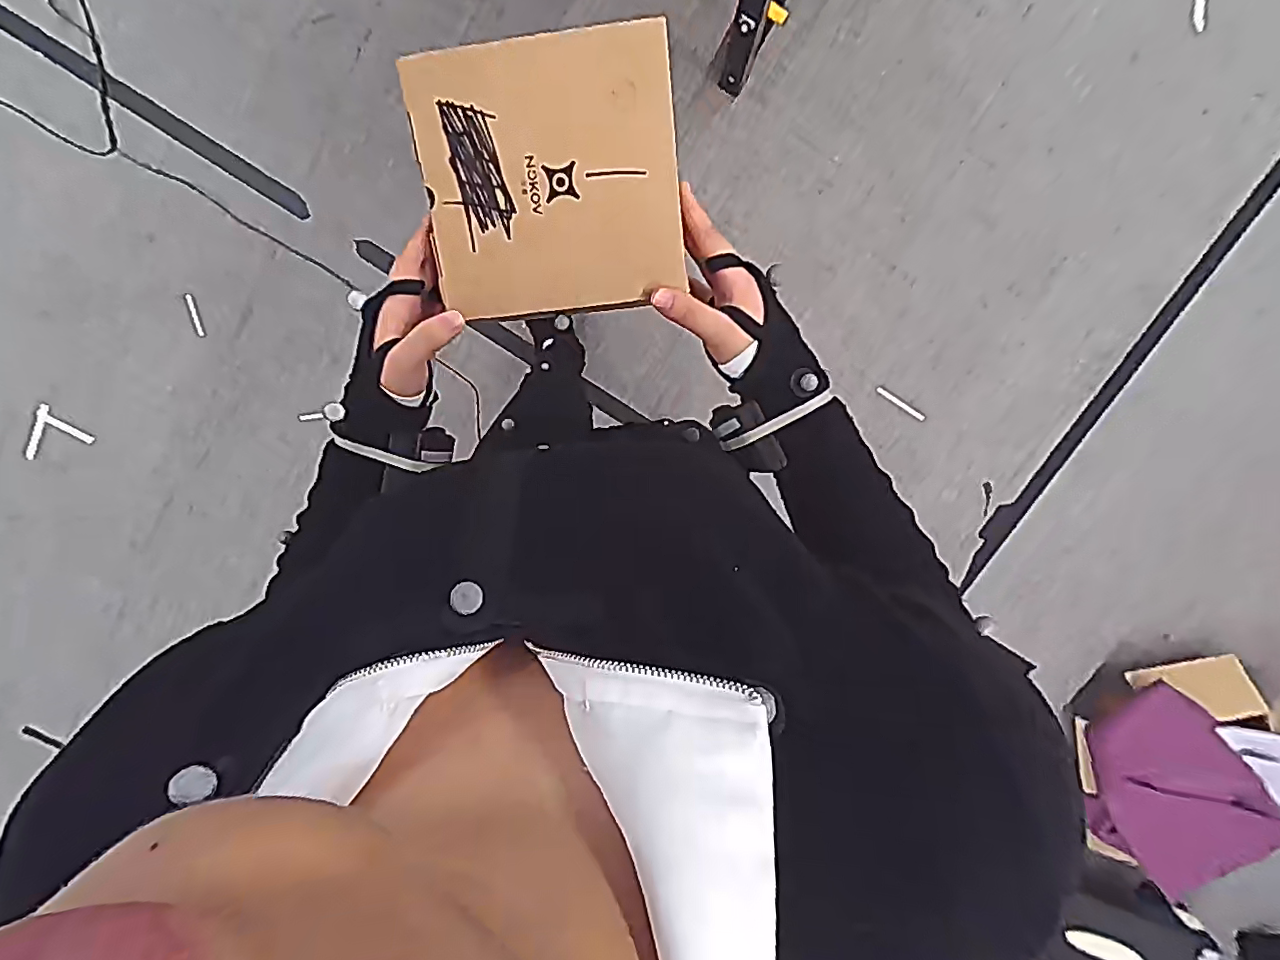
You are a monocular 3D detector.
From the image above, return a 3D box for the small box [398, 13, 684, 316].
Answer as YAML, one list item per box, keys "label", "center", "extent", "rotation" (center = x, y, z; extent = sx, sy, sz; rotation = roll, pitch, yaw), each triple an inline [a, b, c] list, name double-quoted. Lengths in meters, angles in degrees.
- label: "small box"
  center: [-0.059, -0.226, 0.438]
  extent: [0.179, 0.176, 0.168]
  rotation: [-6, 107, 3]
